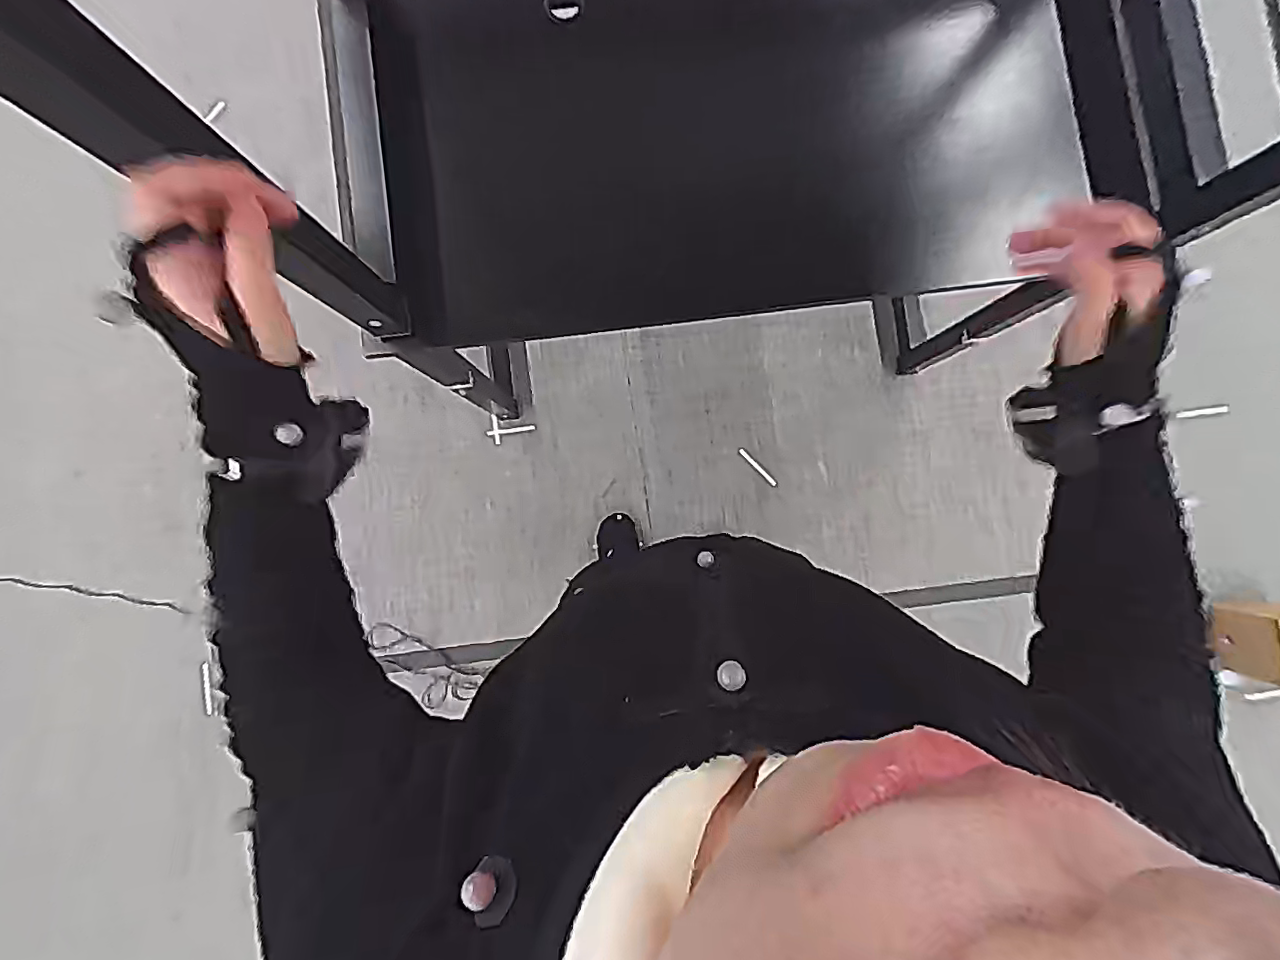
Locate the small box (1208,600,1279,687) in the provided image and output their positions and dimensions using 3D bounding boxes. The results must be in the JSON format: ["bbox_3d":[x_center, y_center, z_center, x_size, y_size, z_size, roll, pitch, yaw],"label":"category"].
[{"bbox_3d":[1.666,0.426,1.422,0.168,0.176,0.179,-5,89,-1],"label":"small box"}]
